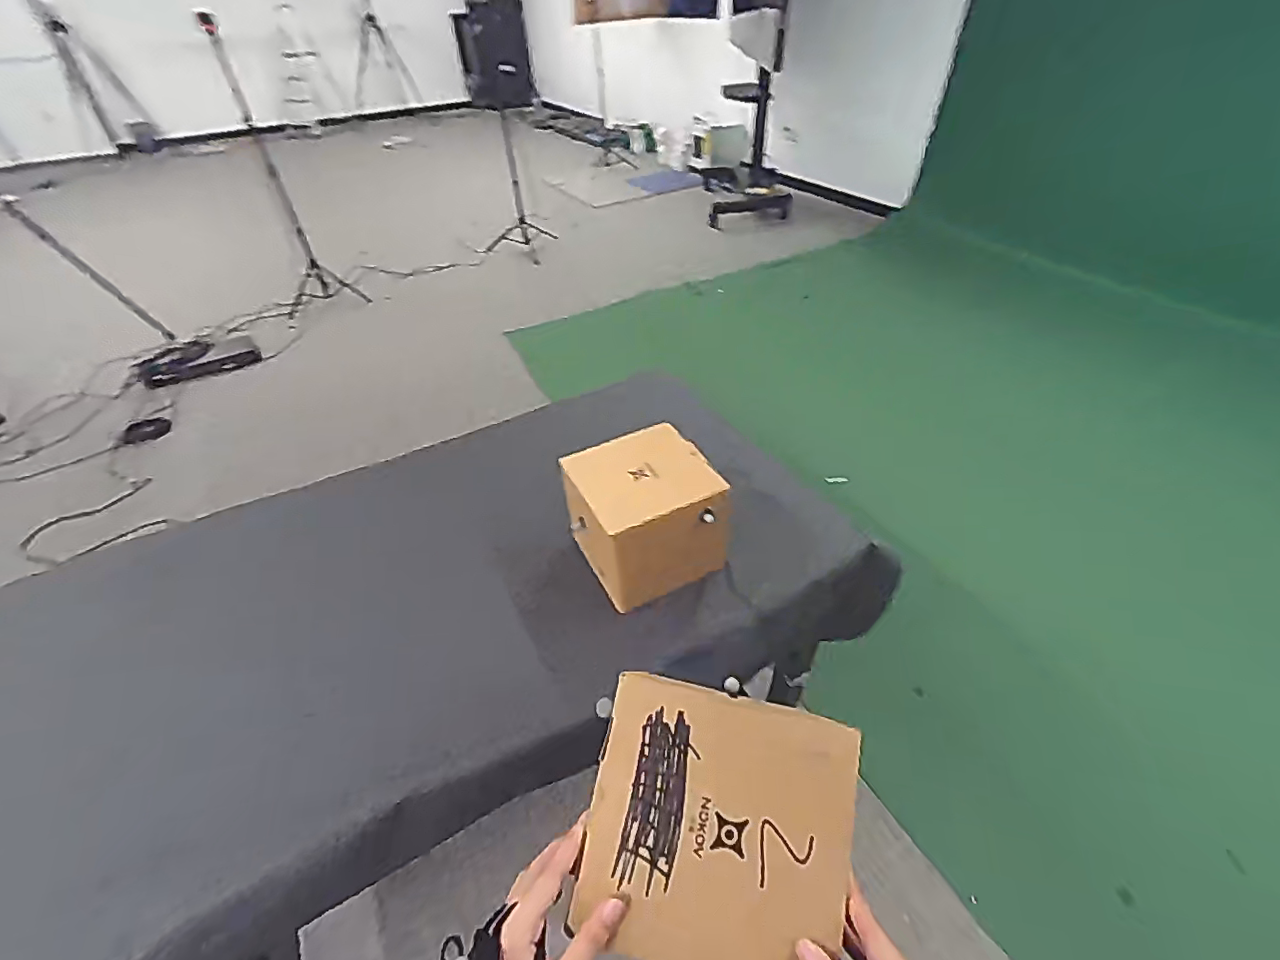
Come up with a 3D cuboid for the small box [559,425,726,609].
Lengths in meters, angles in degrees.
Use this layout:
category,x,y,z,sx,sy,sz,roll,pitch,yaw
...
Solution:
category,x,y,z,sx,sy,sz,roll,pitch,yaw
small box,0.004,0.053,0.771,0.179,0.176,0.168,-21,45,-19
